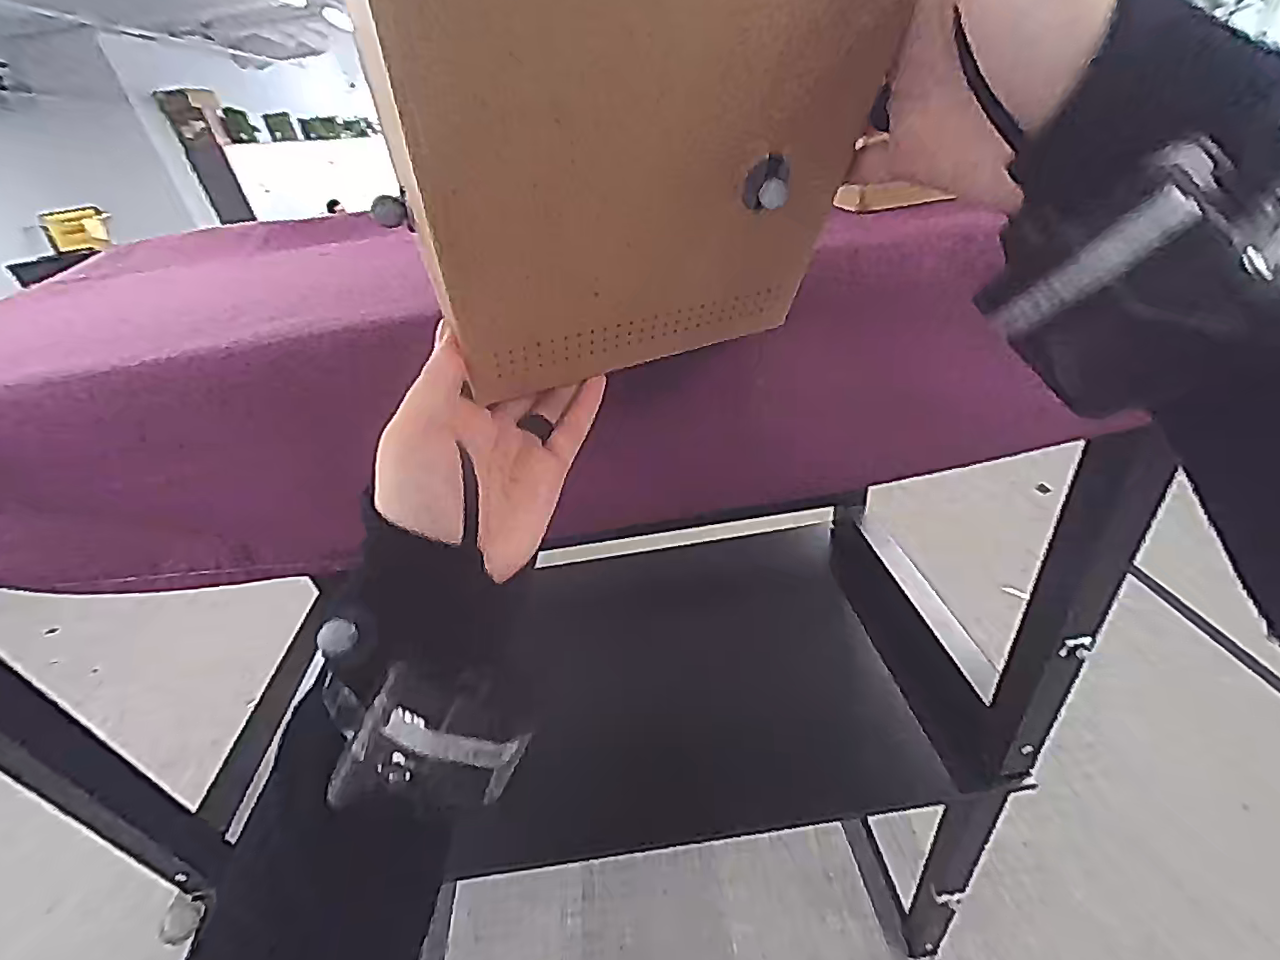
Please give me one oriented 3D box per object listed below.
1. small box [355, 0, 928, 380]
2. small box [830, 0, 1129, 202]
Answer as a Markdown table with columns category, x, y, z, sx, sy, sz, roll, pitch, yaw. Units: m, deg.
| category | x | y | z | sx | sy | sz | roll | pitch | yaw |
| --- | --- | --- | --- | --- | --- | --- | --- | --- | --- |
| small box | -0.020 | -0.172 | 0.239 | 0.179 | 0.176 | 0.168 | -19 | 63 | -16 |
| small box | 0.233 | -0.331 | 0.424 | 0.179 | 0.176 | 0.168 | -8 | 32 | 2 |
